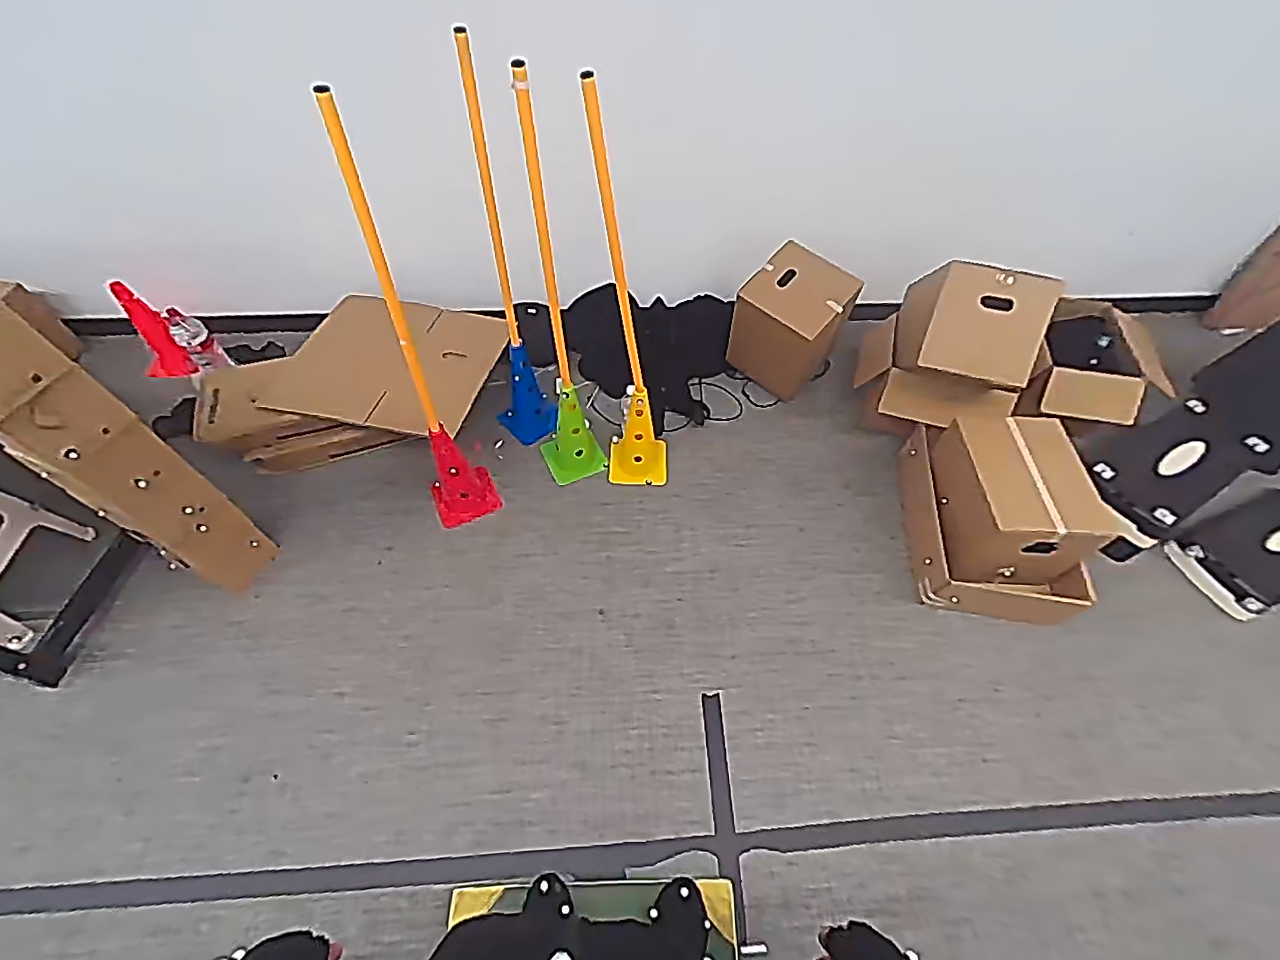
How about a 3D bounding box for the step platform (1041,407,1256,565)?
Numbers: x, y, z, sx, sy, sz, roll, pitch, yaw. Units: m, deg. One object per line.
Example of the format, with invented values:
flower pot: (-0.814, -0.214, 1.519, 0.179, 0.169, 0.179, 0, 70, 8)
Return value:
step platform: (1.726, 0.005, 1.836, 0.684, 0.204, 0.286, -26, 59, -18)
